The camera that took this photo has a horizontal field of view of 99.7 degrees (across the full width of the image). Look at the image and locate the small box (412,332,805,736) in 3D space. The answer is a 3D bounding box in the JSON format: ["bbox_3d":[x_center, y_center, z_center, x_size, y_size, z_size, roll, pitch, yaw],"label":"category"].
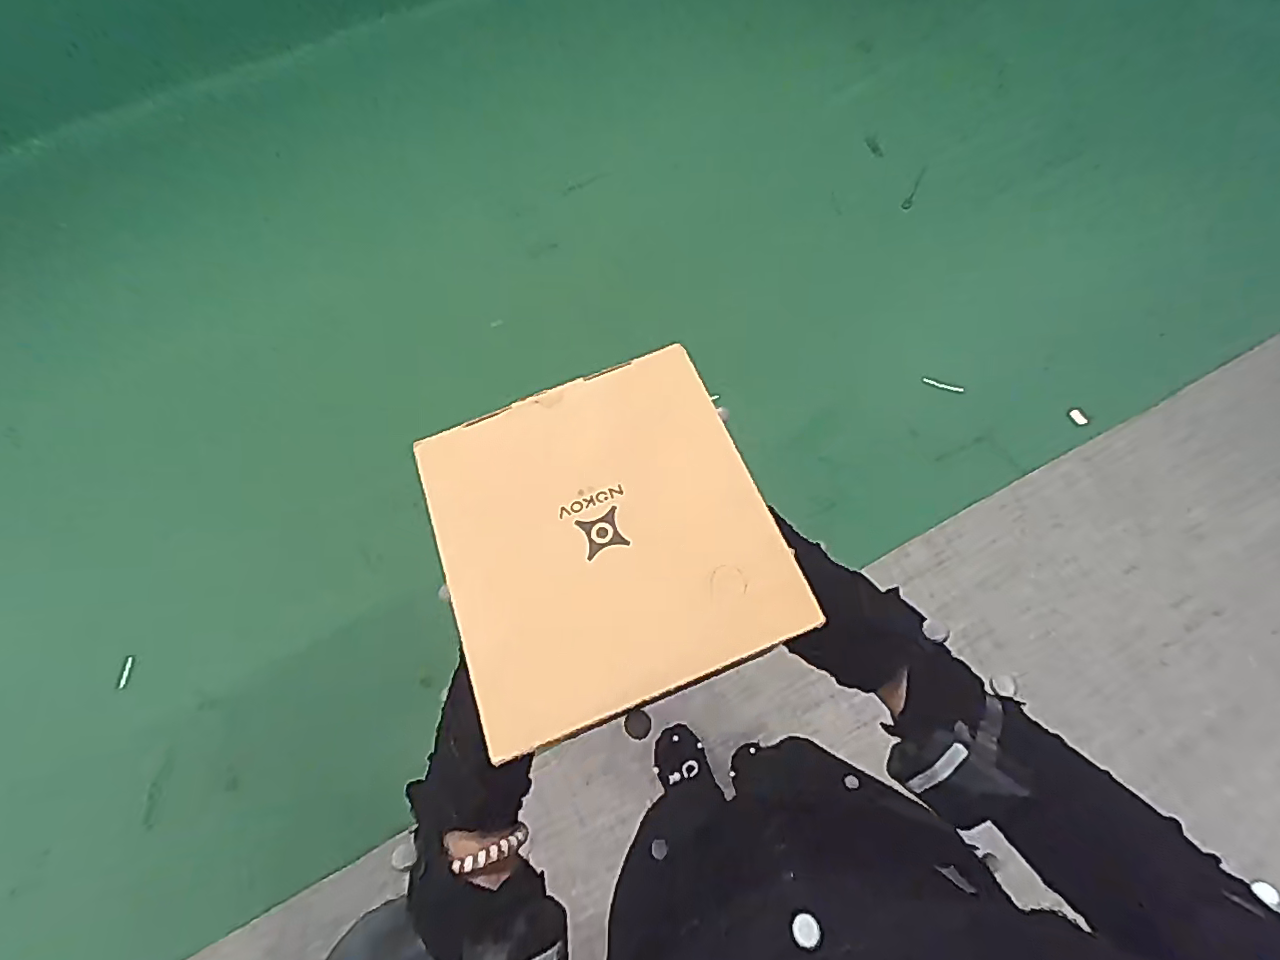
[{"bbox_3d":[-0.018,0.044,0.355,0.168,0.176,0.179,-21,67,-4],"label":"small box"}]
